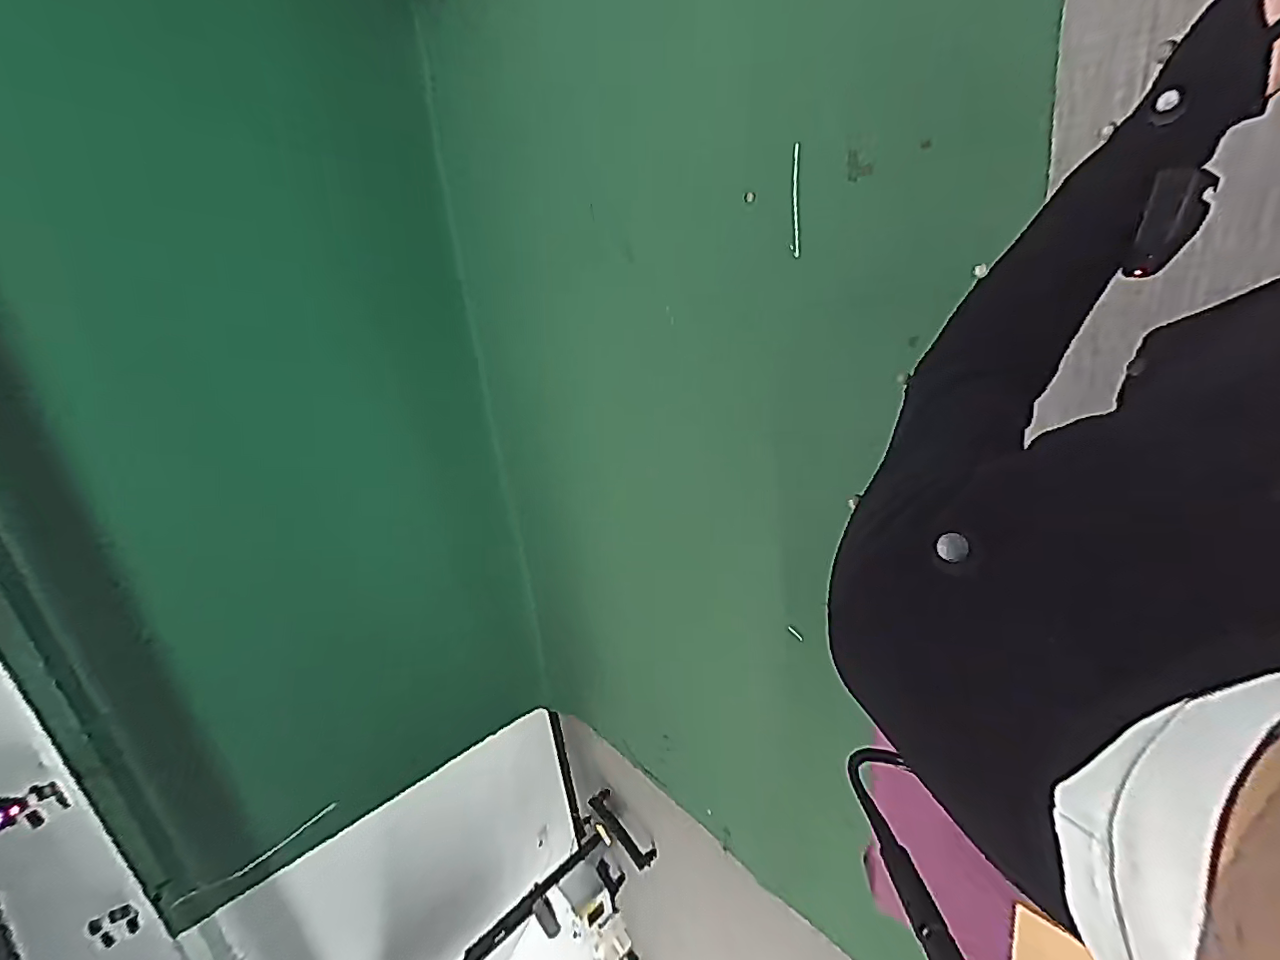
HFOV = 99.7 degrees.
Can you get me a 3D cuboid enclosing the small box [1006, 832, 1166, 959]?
[{"bbox_3d":[0.706,0.717,0.860,0.168,0.176,0.179,11,117,48],"label":"small box"}]
